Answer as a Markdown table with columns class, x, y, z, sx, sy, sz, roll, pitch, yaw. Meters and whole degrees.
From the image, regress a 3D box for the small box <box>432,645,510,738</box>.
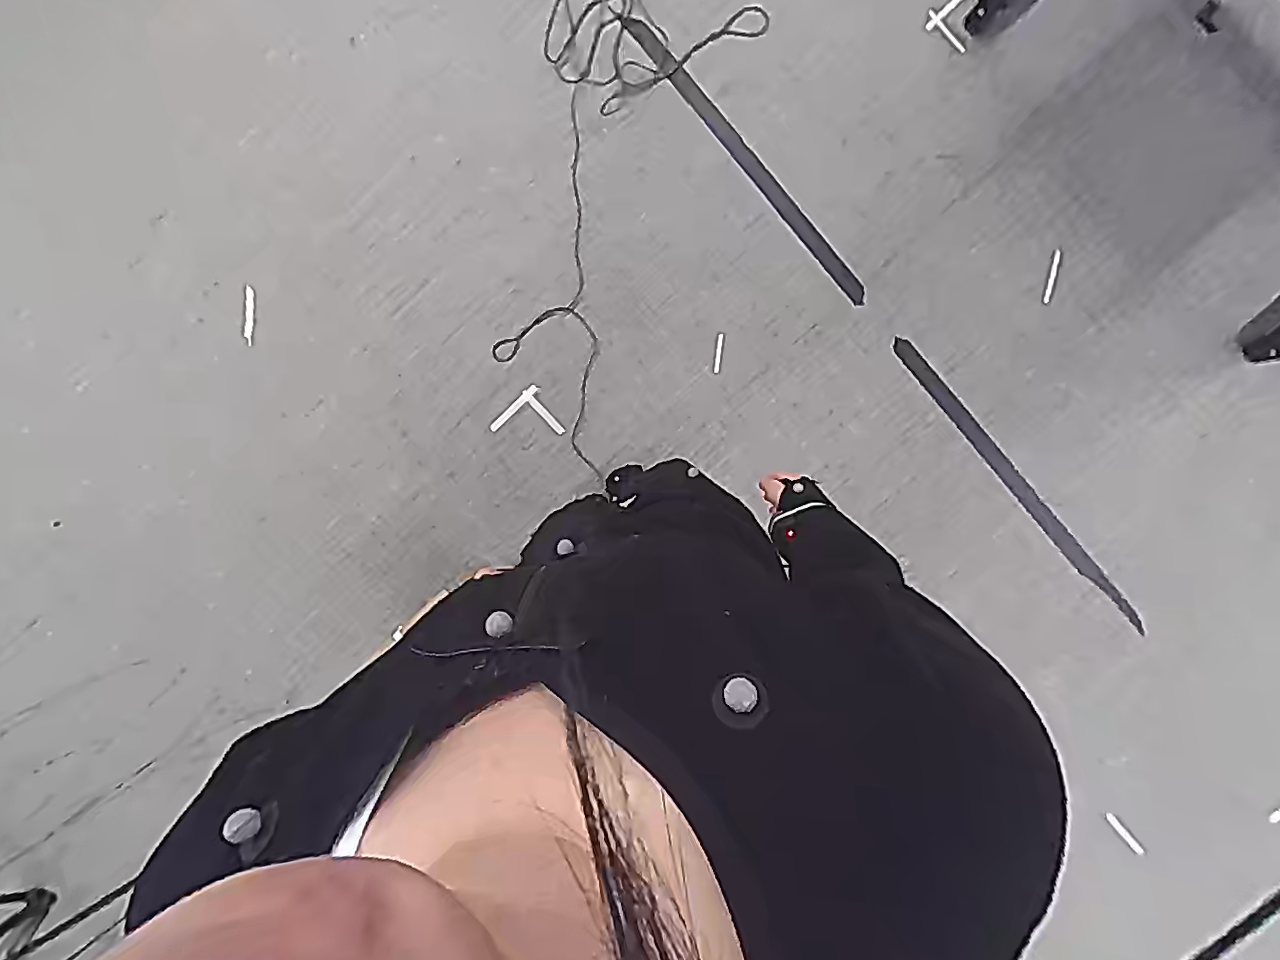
| class | x | y | z | sx | sy | sz | roll | pitch | yaw |
| --- | --- | --- | --- | --- | --- | --- | --- | --- | --- |
| small box | -0.405 | 0.487 | 1.150 | 0.179 | 0.176 | 0.168 | -44 | 91 | 3 |
